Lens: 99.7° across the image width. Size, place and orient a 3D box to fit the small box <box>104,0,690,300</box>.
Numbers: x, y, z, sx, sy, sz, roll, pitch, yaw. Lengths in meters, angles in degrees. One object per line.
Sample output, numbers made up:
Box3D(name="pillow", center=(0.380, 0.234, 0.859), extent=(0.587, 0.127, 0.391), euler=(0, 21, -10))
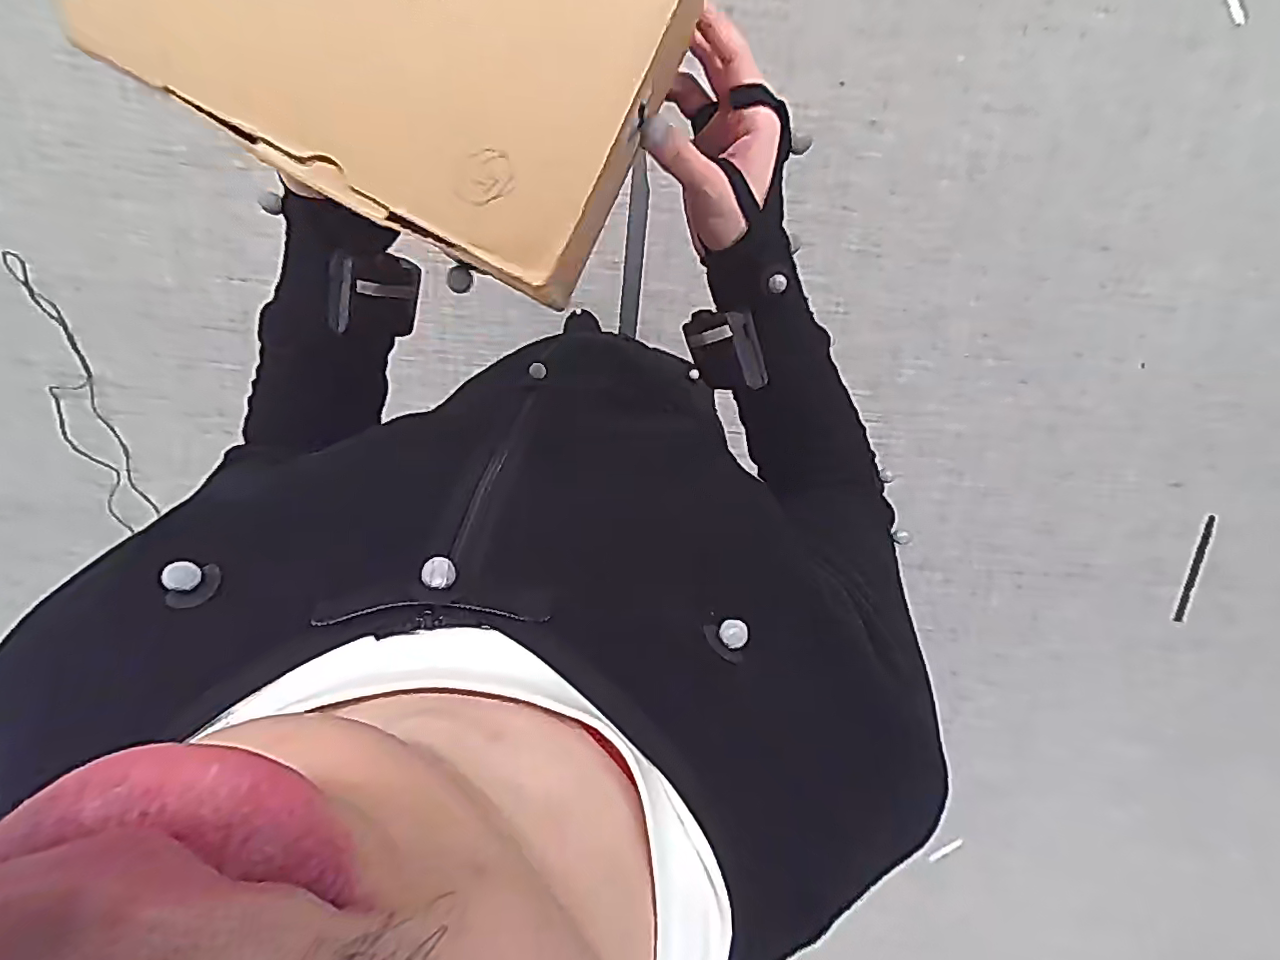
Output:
Box3D(name="small box", center=(-0.078, -0.202, 0.257), extent=(0.168, 0.176, 0.179), euler=(24, 101, -11))
